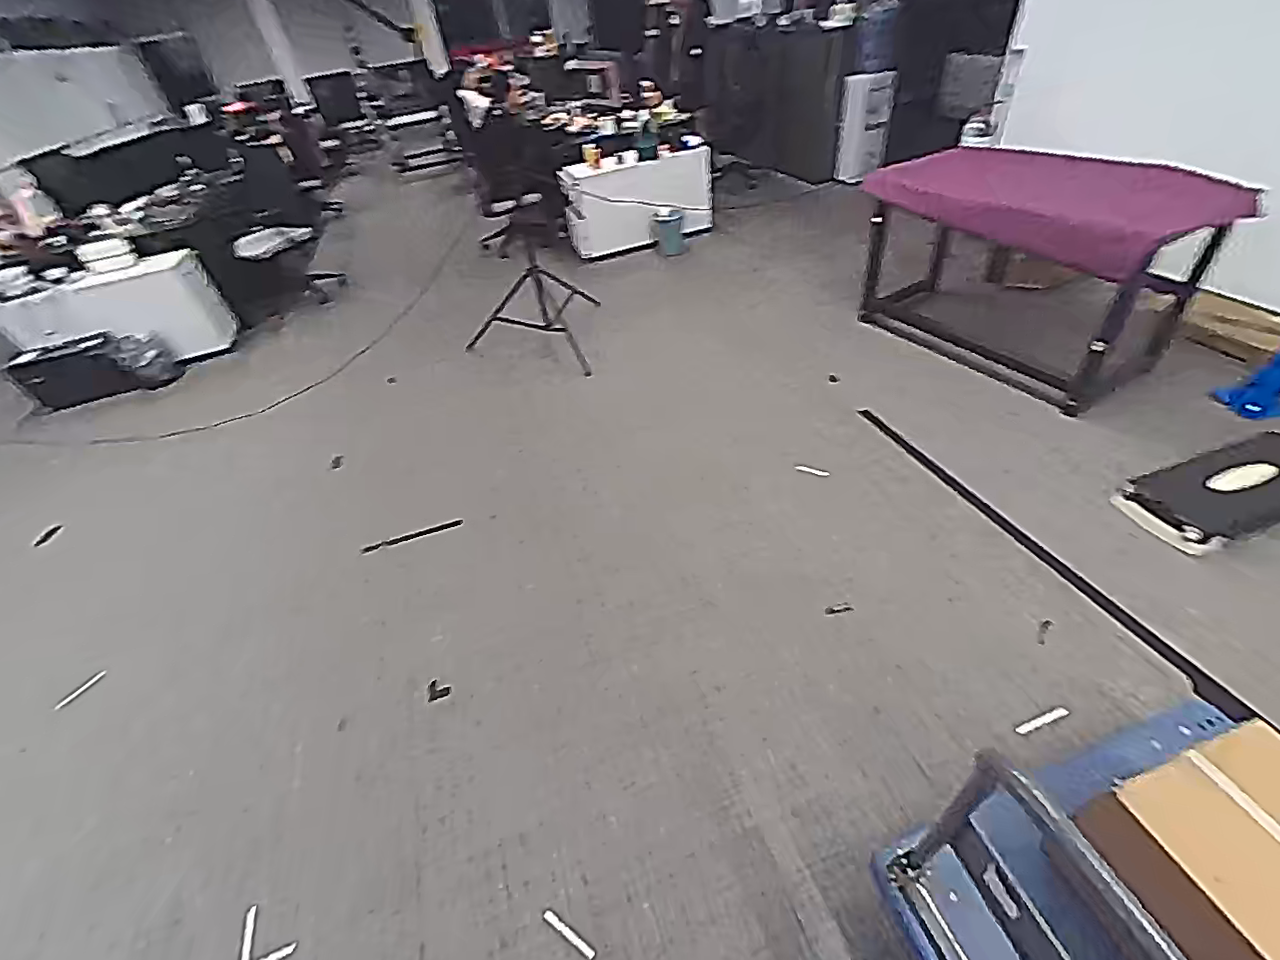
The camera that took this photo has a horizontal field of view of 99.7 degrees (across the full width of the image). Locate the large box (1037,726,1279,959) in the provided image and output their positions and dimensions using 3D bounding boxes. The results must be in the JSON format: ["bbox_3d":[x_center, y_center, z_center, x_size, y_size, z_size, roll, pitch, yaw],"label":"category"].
[{"bbox_3d":[0.969,0.695,0.858,0.320,0.320,0.408,-17,41,-9],"label":"large box"}]
